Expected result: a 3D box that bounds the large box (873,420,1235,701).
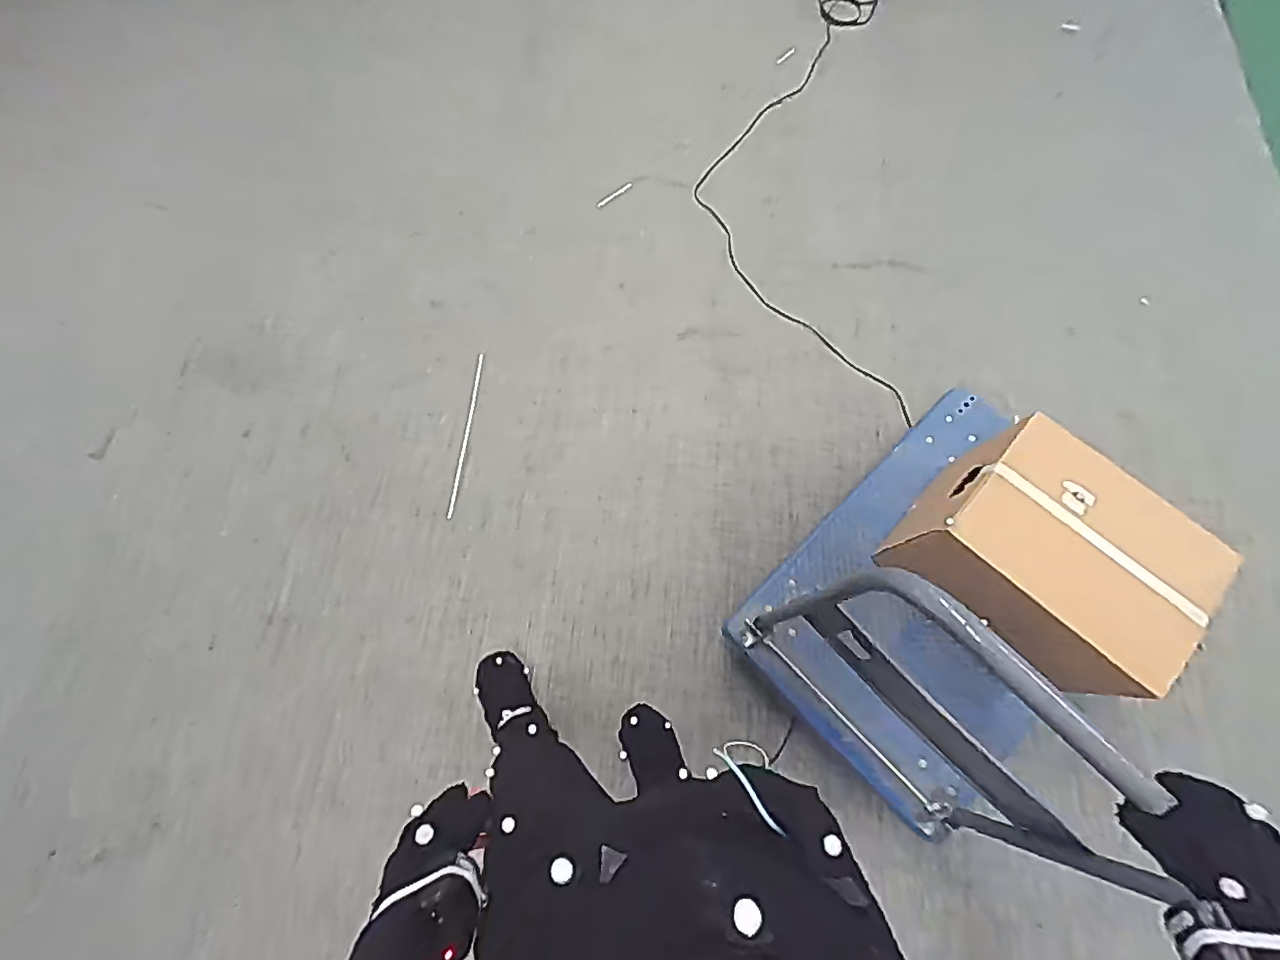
[{"bbox_3d":[0.762,0.166,1.060,0.408,0.320,0.320,42,75,13],"label":"large box"}]
